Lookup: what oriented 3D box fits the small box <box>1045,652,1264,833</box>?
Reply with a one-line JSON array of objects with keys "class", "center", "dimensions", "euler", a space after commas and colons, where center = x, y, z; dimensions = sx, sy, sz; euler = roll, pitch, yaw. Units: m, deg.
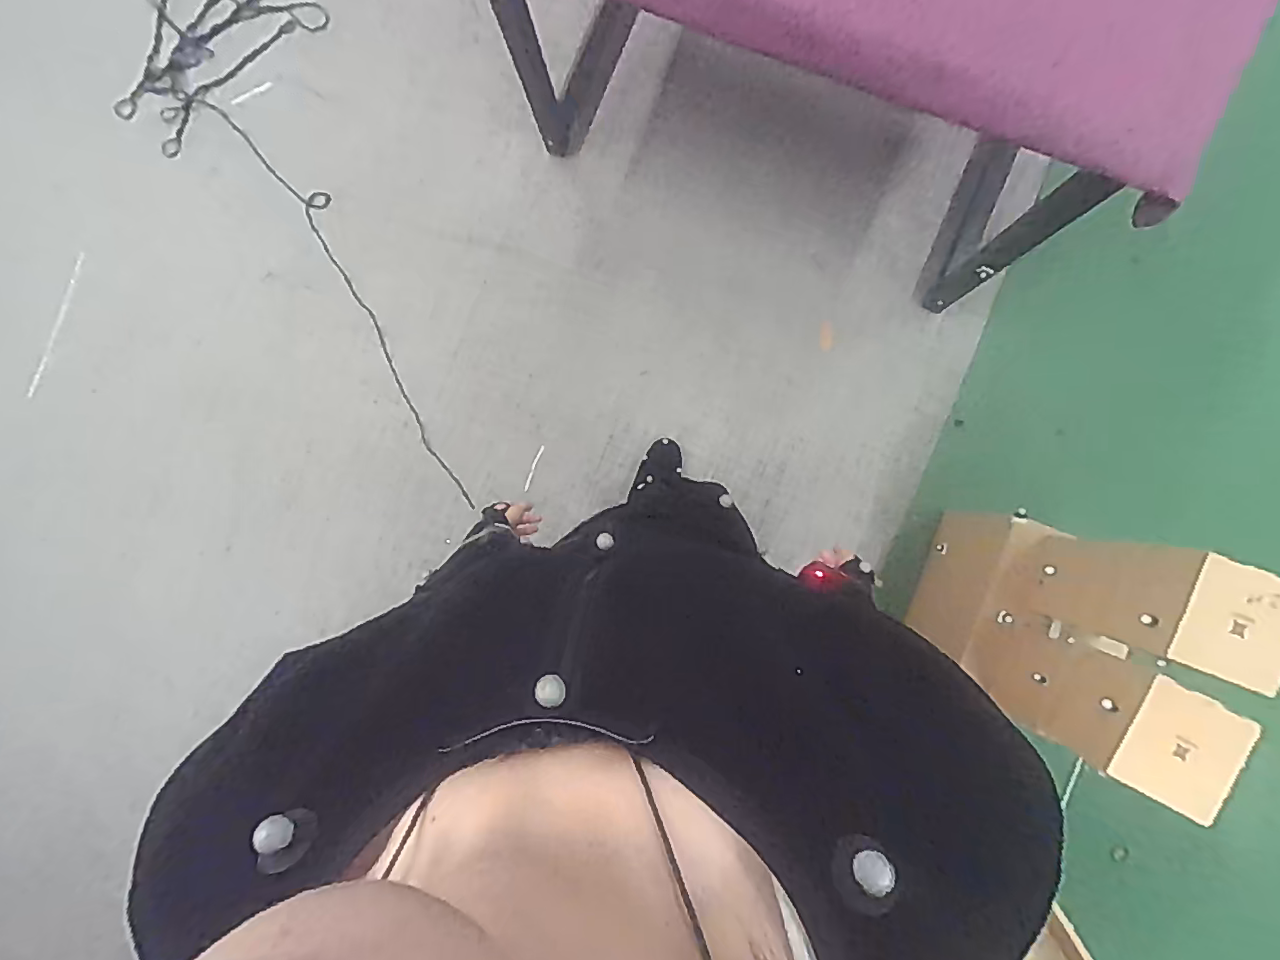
[{"class": "small box", "center": [0.817, 0.413, 0.884], "dimensions": [0.168, 0.176, 0.179], "euler": [28, 89, 5]}]

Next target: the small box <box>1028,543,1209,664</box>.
[{"class": "small box", "center": [0.911, 0.227, 1.045], "dimensions": [0.179, 0.176, 0.168], "euler": [18, 90, 4]}]
